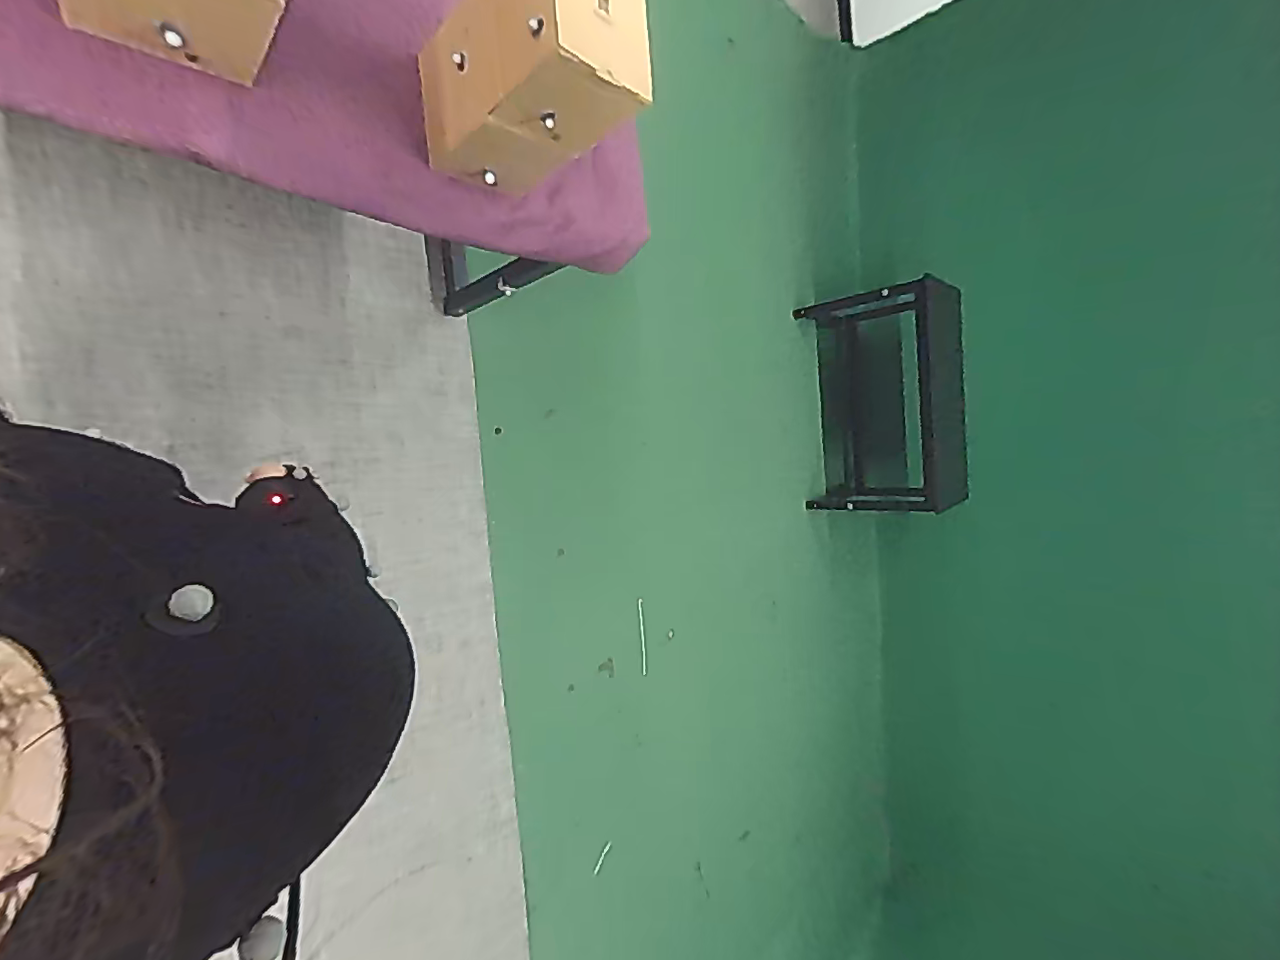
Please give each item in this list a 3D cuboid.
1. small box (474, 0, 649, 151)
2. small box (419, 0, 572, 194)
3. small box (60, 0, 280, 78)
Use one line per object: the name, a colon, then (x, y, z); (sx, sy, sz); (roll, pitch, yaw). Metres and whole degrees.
small box: (-0.109, -0.593, 0.734); (0.168, 0.176, 0.179); (-9, 95, -46)
small box: (-0.228, -0.585, 0.844); (0.168, 0.176, 0.179); (-8, 95, -46)
small box: (-0.497, -0.575, 0.555); (0.168, 0.176, 0.179); (-11, 96, -46)
